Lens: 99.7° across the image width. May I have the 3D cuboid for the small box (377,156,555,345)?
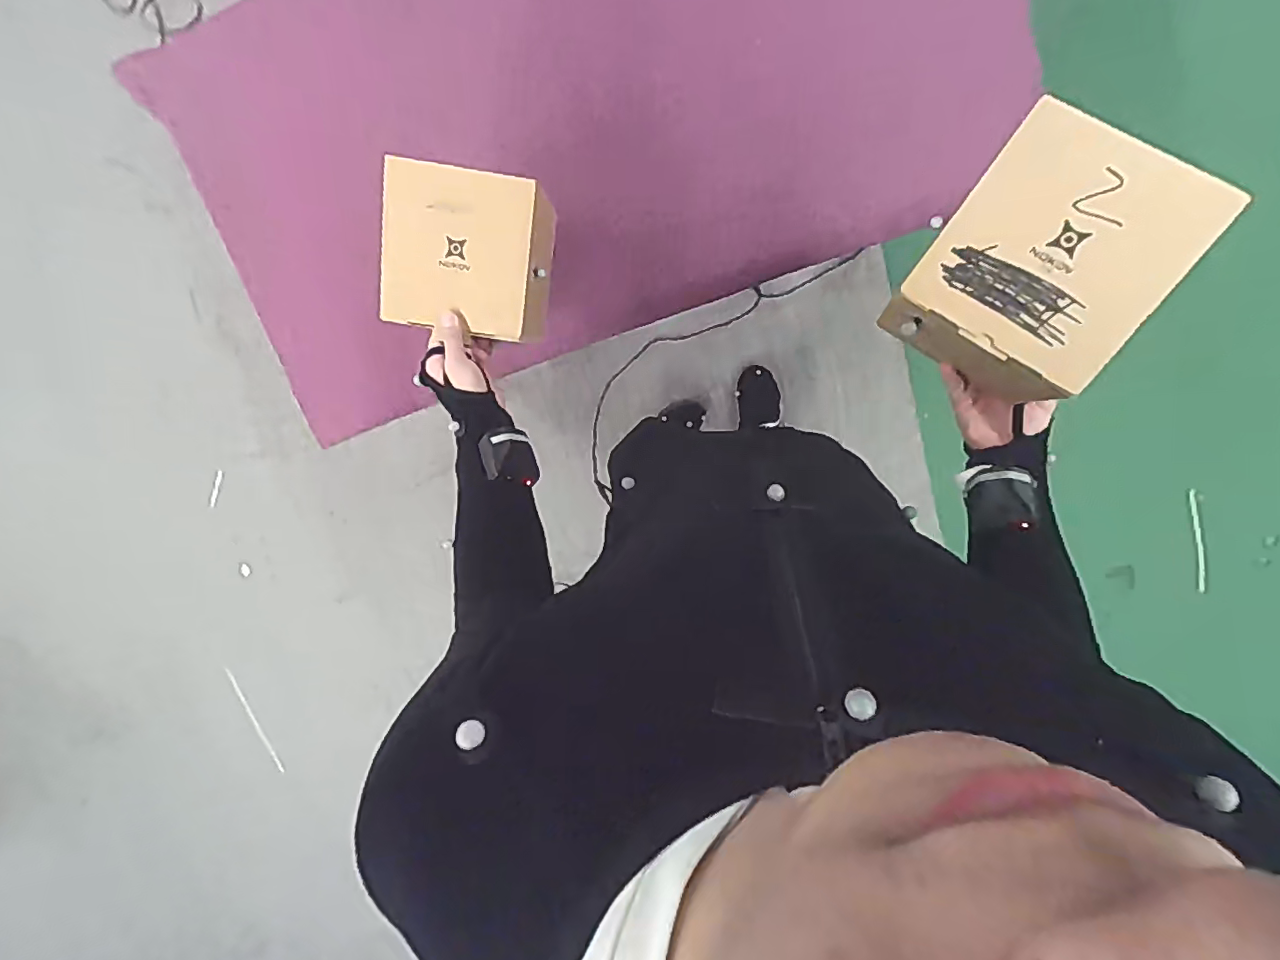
[{"bbox_3d":[-0.208,-0.272,0.683,0.168,0.176,0.179,10,103,-3],"label":"small box"}]
